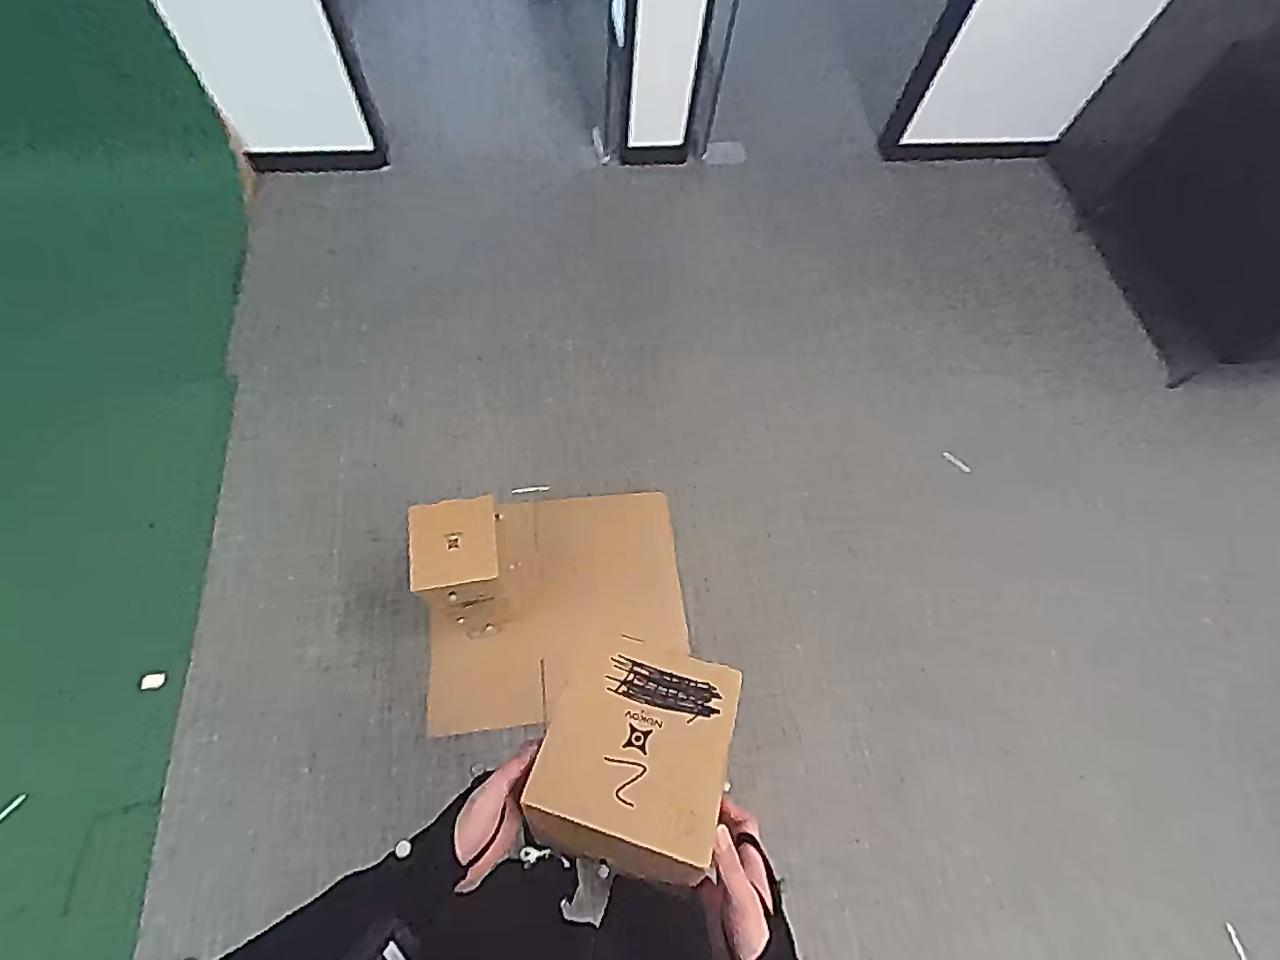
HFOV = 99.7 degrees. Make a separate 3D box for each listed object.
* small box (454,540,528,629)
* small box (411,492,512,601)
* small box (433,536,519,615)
[{"bbox_3d":[-0.395,0.276,1.419,0.168,0.176,0.179,-12,68,-10],"label":"small box"},{"bbox_3d":[-0.364,0.145,1.122,0.168,0.176,0.179,-8,67,-8],"label":"small box"},{"bbox_3d":[-0.382,0.211,1.269,0.168,0.176,0.179,-8,67,-8],"label":"small box"}]
